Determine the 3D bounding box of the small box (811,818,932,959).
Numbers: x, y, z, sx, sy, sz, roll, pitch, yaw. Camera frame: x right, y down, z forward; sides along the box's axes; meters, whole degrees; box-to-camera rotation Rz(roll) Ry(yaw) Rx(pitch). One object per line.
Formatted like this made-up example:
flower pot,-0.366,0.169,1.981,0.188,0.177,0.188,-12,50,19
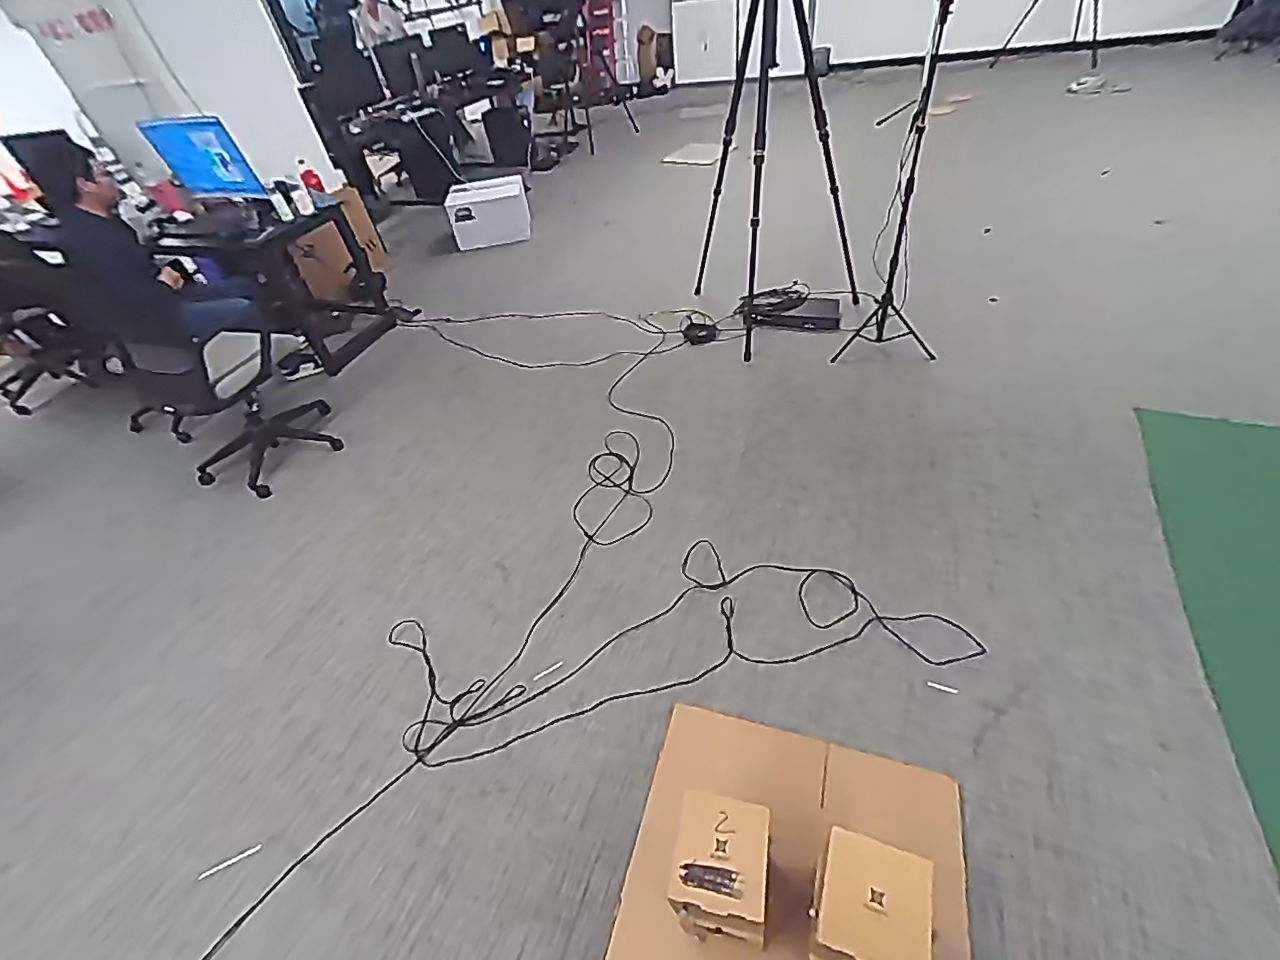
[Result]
small box,0.400,0.736,0.947,0.168,0.176,0.179,10,49,21

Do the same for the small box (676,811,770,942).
small box,0.180,0.828,1.126,0.168,0.176,0.179,5,46,16

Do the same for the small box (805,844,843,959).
small box,0.419,0.855,1.056,0.168,0.176,0.179,7,47,20
